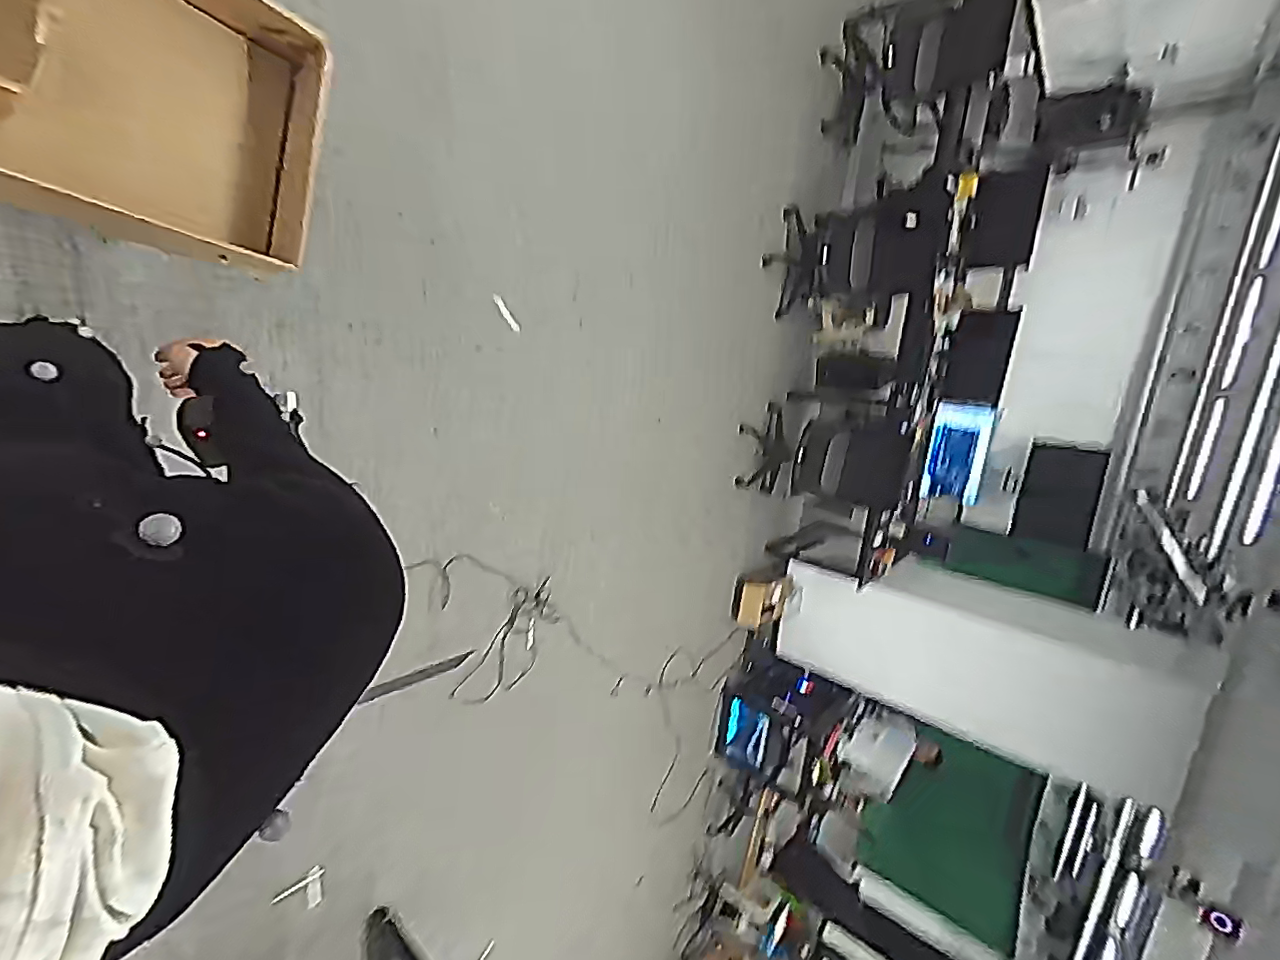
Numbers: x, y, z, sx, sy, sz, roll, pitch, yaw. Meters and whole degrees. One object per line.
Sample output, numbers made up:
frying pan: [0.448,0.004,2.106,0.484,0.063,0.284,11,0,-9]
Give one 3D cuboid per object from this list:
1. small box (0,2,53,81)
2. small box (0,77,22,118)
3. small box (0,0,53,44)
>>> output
small box: [-0.727,-0.551,0.547,0.179,0.176,0.168,6,96,-53]
small box: [-0.858,-0.574,0.644,0.168,0.176,0.179,4,97,-53]
small box: [-0.603,-0.521,0.444,0.168,0.176,0.179,3,97,-52]
